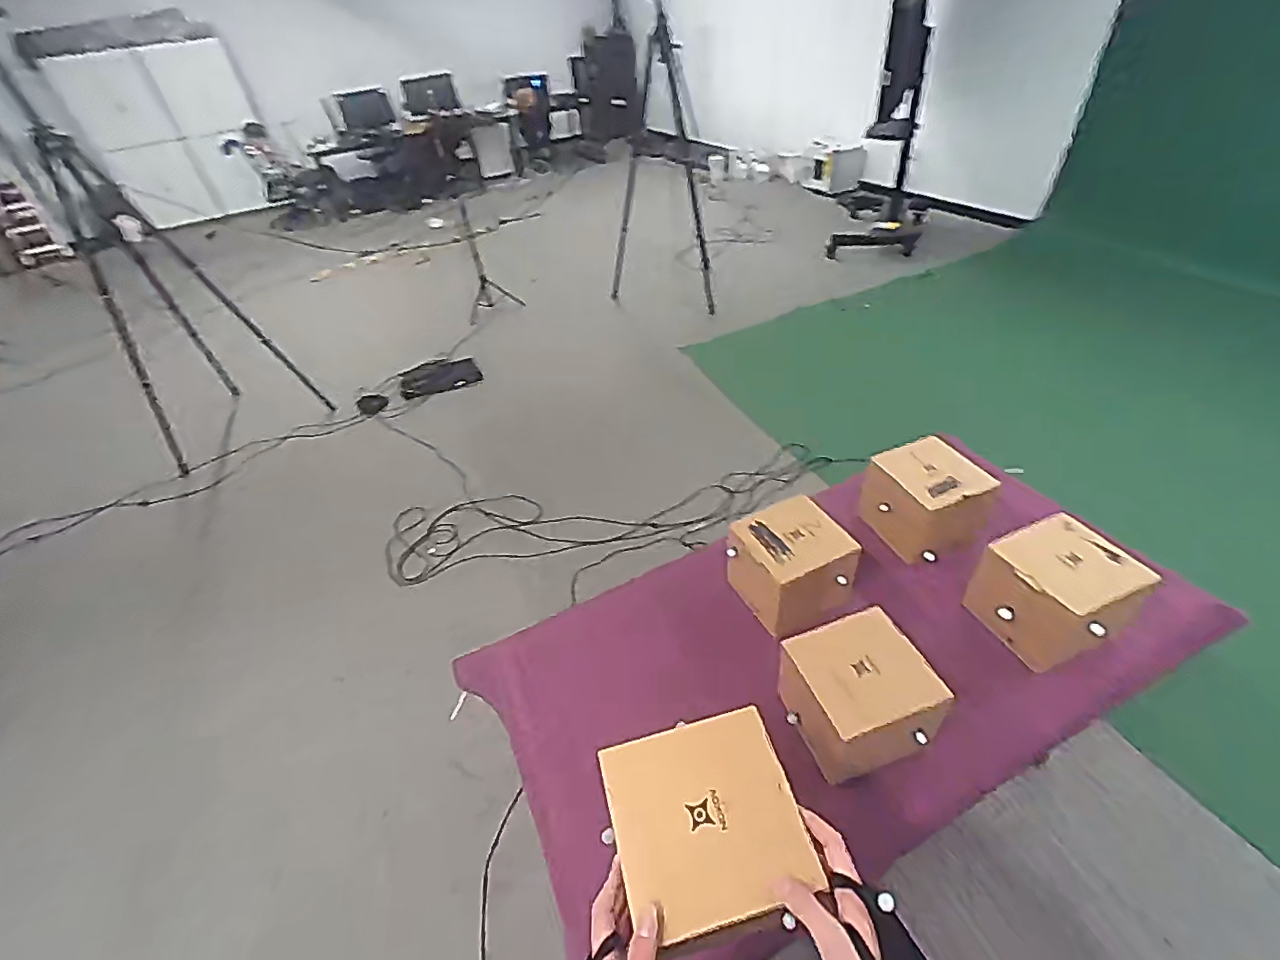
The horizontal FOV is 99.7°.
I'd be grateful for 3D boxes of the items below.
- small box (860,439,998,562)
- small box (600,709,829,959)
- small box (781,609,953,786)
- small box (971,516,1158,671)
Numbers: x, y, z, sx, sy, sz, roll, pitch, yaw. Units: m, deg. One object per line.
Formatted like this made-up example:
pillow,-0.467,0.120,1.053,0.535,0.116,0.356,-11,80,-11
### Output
small box,0.586,0.048,1.122,0.168,0.176,0.179,-18,41,-11
small box,0.065,0.370,0.558,0.179,0.176,0.168,-11,45,-9
small box,0.334,0.335,0.836,0.179,0.176,0.168,-17,40,-9
small box,0.708,0.197,0.930,0.179,0.176,0.168,-19,41,-11
